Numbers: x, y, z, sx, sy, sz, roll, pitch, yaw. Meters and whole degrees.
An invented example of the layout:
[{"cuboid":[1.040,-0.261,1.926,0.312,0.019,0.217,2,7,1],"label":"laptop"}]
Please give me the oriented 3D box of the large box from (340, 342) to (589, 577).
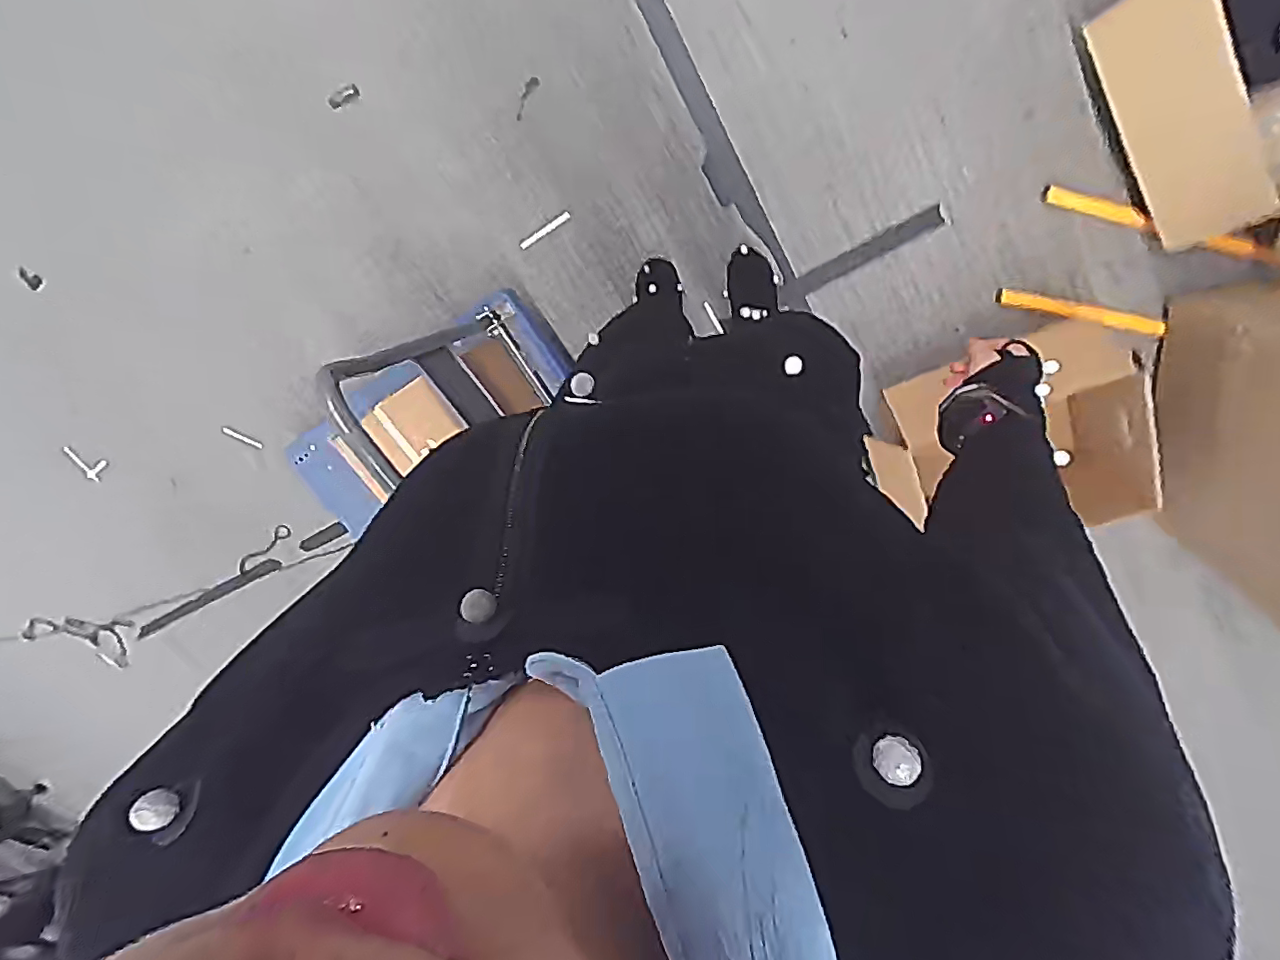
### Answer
[{"cuboid":[-0.383,-0.054,1.281,0.320,0.320,0.408,-27,107,21],"label":"large box"}]
